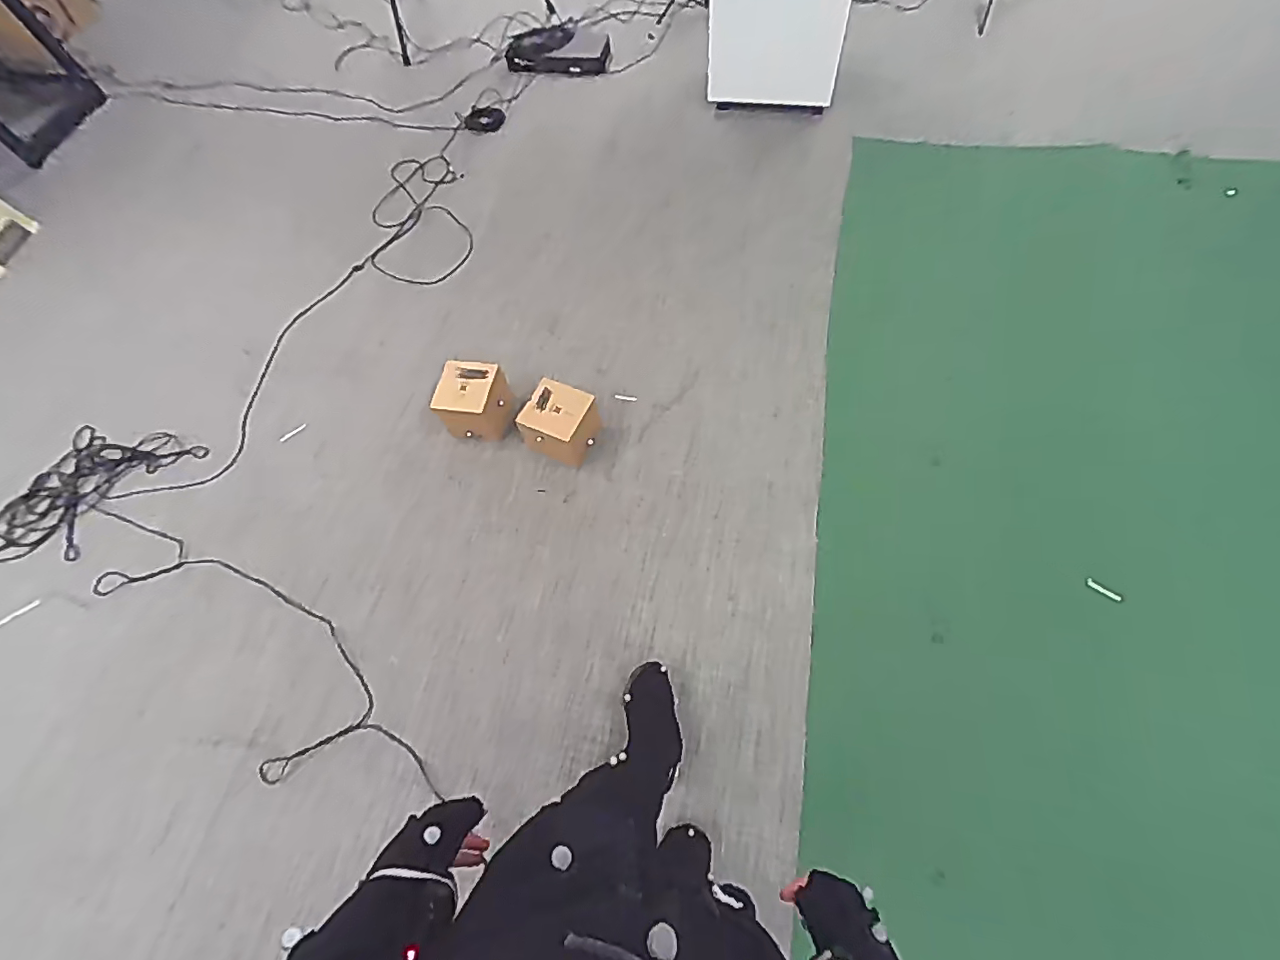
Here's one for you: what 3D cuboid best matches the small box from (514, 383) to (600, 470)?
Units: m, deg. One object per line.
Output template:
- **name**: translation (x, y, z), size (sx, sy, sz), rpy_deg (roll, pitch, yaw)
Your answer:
- **small box**: translation (-0.238, -0.152, 1.598), size (0.179, 0.176, 0.168), rpy_deg (22, 68, 14)
